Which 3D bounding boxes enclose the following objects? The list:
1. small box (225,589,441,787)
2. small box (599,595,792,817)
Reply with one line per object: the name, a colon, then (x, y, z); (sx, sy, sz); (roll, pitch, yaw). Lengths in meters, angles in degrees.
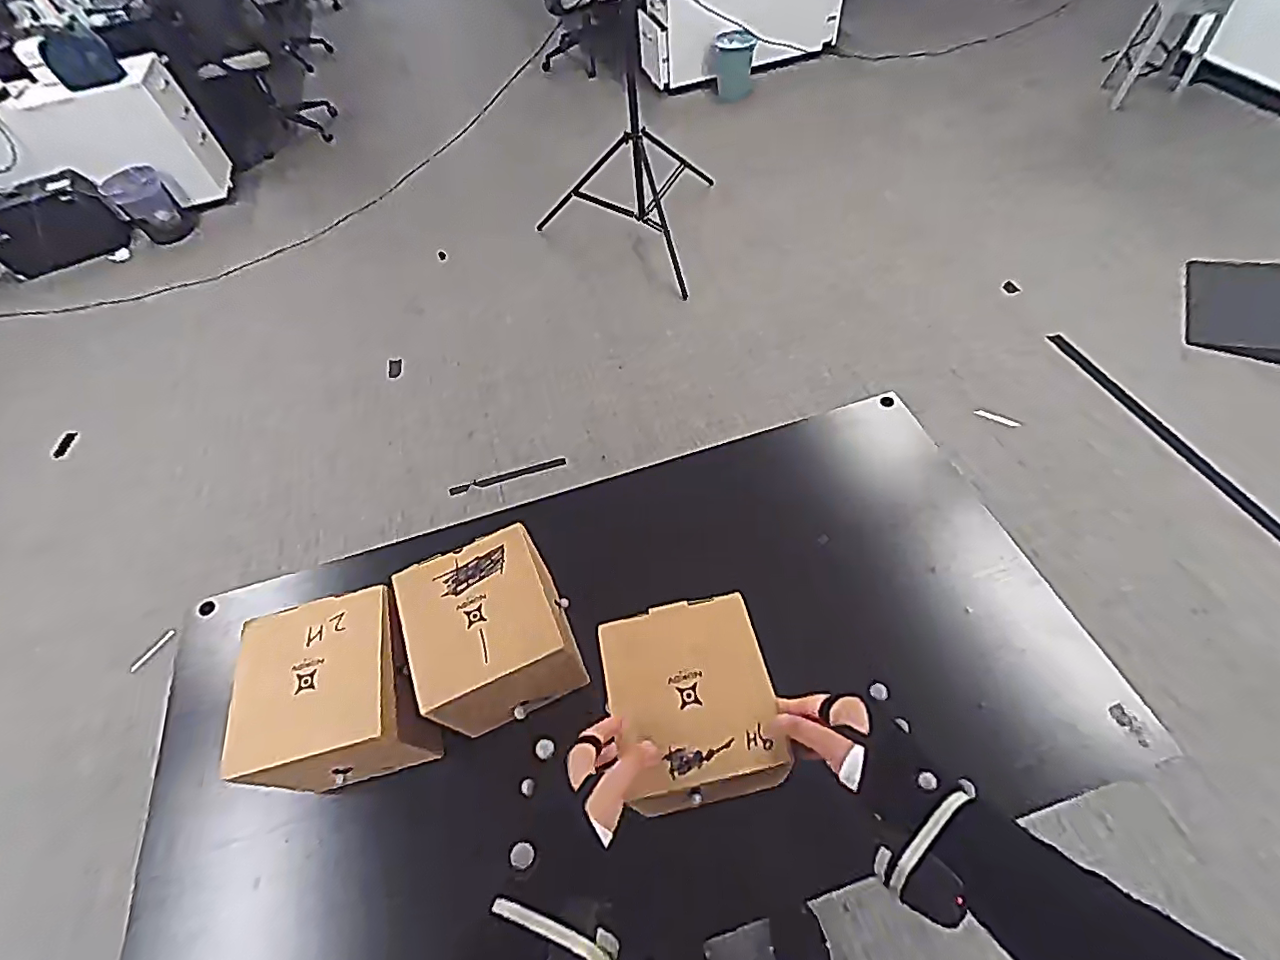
small box: (-0.357, 0.263, 0.666); (0.168, 0.176, 0.179); (-15, 55, -4)
small box: (0.058, 0.259, 0.614); (0.168, 0.176, 0.179); (-14, 53, 0)
